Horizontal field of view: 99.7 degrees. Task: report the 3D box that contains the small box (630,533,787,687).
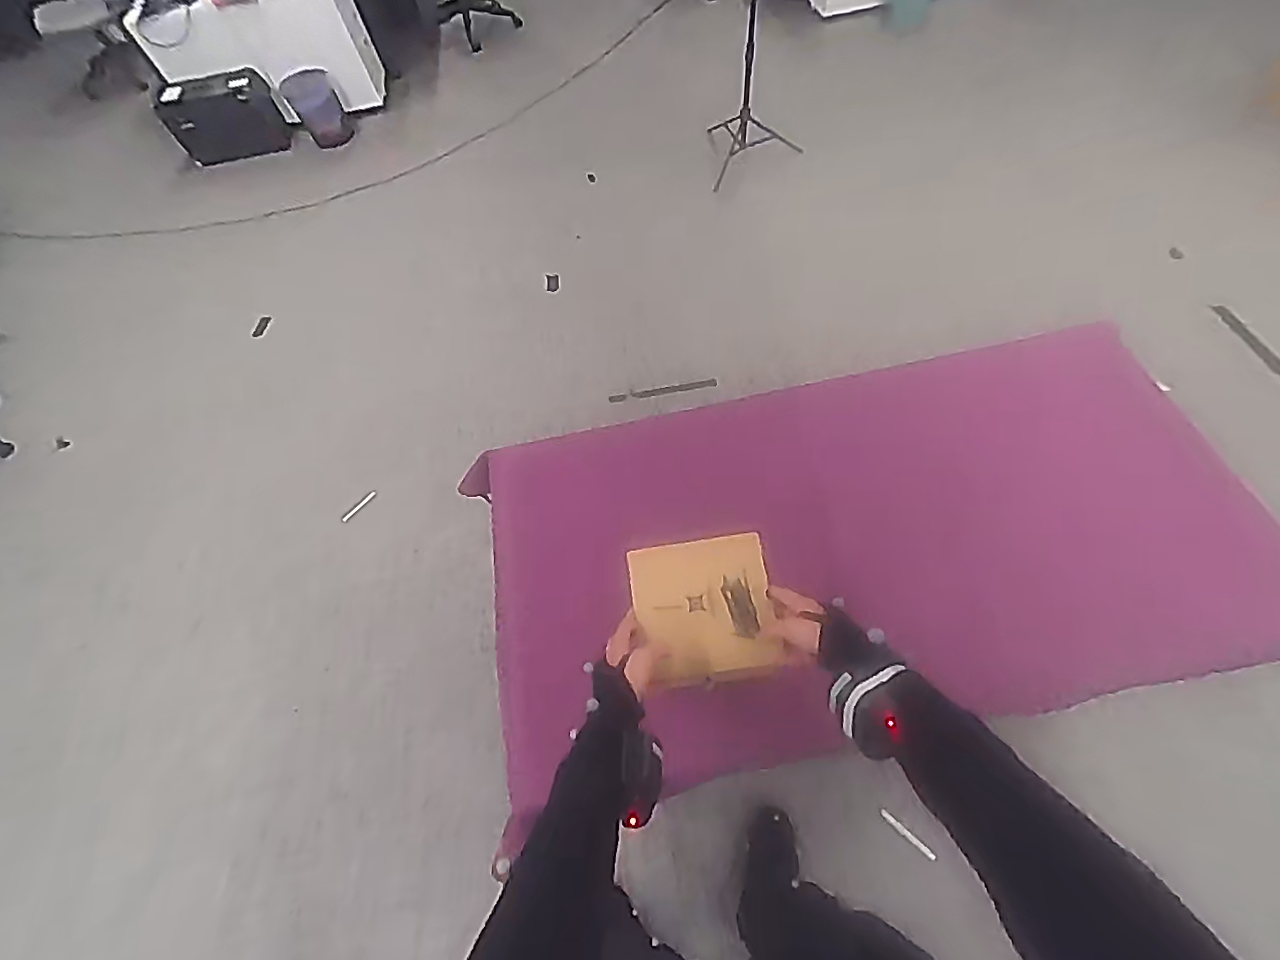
[{"bbox_3d":[0.087,0.185,0.746,0.179,0.176,0.168,-9,65,2],"label":"small box"}]
